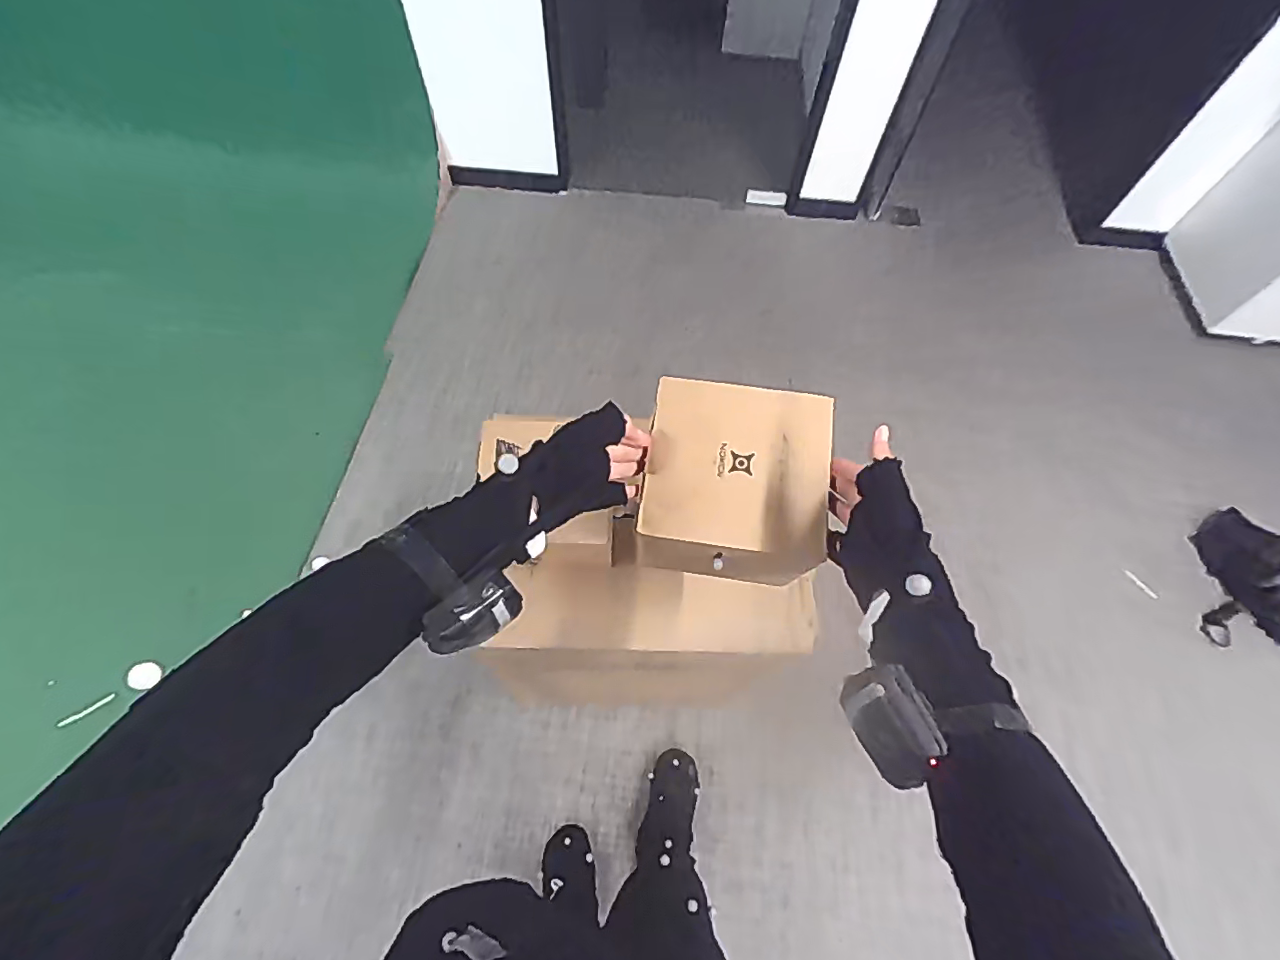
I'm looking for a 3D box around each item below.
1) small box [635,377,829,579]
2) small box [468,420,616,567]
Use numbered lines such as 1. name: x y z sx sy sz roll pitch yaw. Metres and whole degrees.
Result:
1. small box: 0.093 0.008 0.596 0.179 0.176 0.168 8 72 2
2. small box: -0.126 0.027 0.767 0.179 0.176 0.168 2 71 -1
